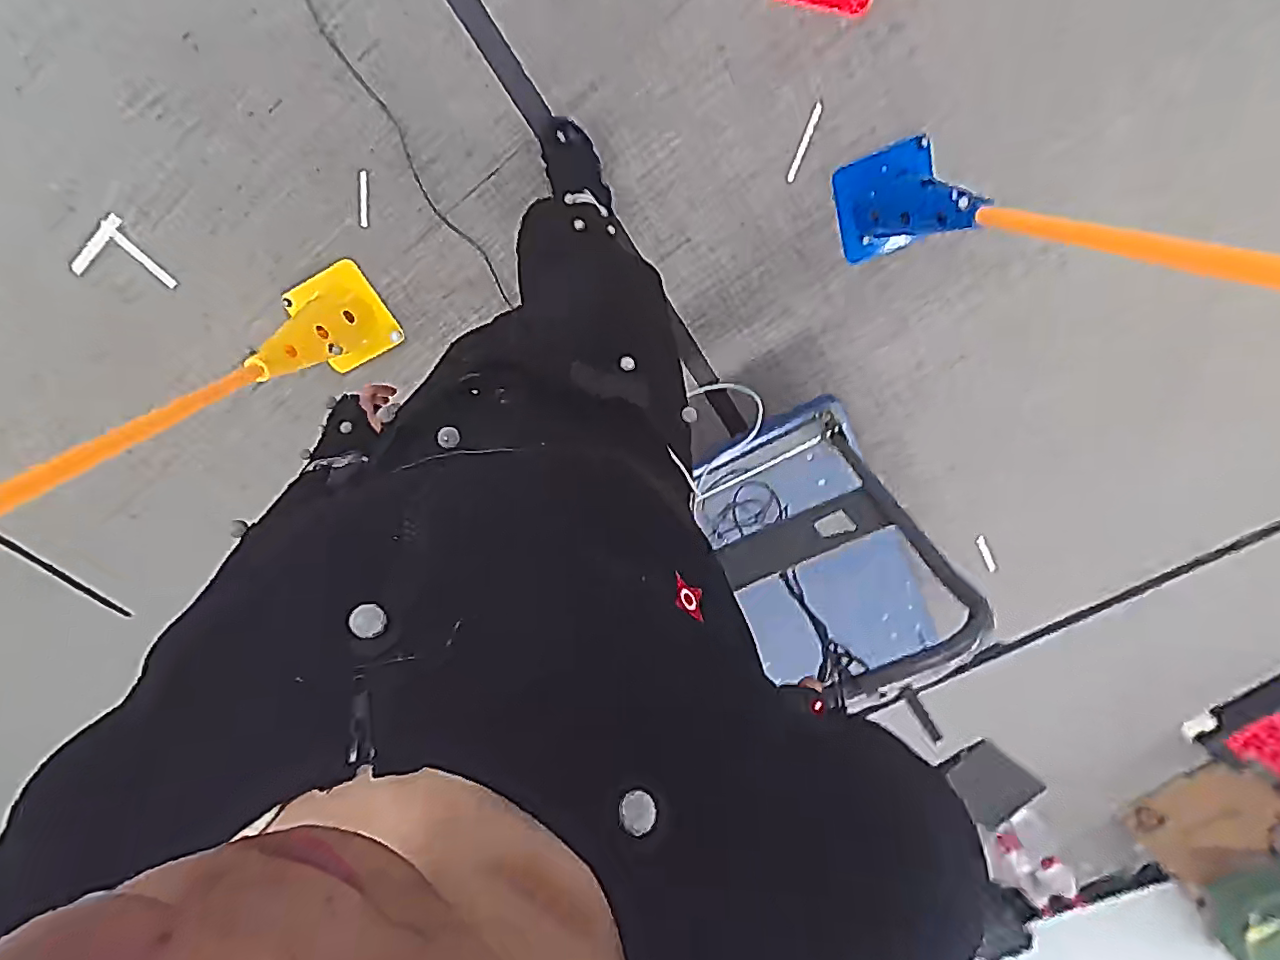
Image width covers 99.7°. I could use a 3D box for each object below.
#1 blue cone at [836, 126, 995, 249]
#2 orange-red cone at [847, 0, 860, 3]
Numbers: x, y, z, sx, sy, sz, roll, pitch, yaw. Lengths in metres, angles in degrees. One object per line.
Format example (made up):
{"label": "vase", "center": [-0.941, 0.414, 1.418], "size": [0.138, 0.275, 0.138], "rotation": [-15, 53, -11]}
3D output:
{"label": "blue cone", "center": [0.516, -0.516, 0.977], "size": [0.193, 0.380, 0.192], "rotation": [-18, 118, 8]}
{"label": "orange-red cone", "center": [0.332, -0.857, 0.759], "size": [0.198, 0.360, 0.199], "rotation": [9, 120, -6]}
